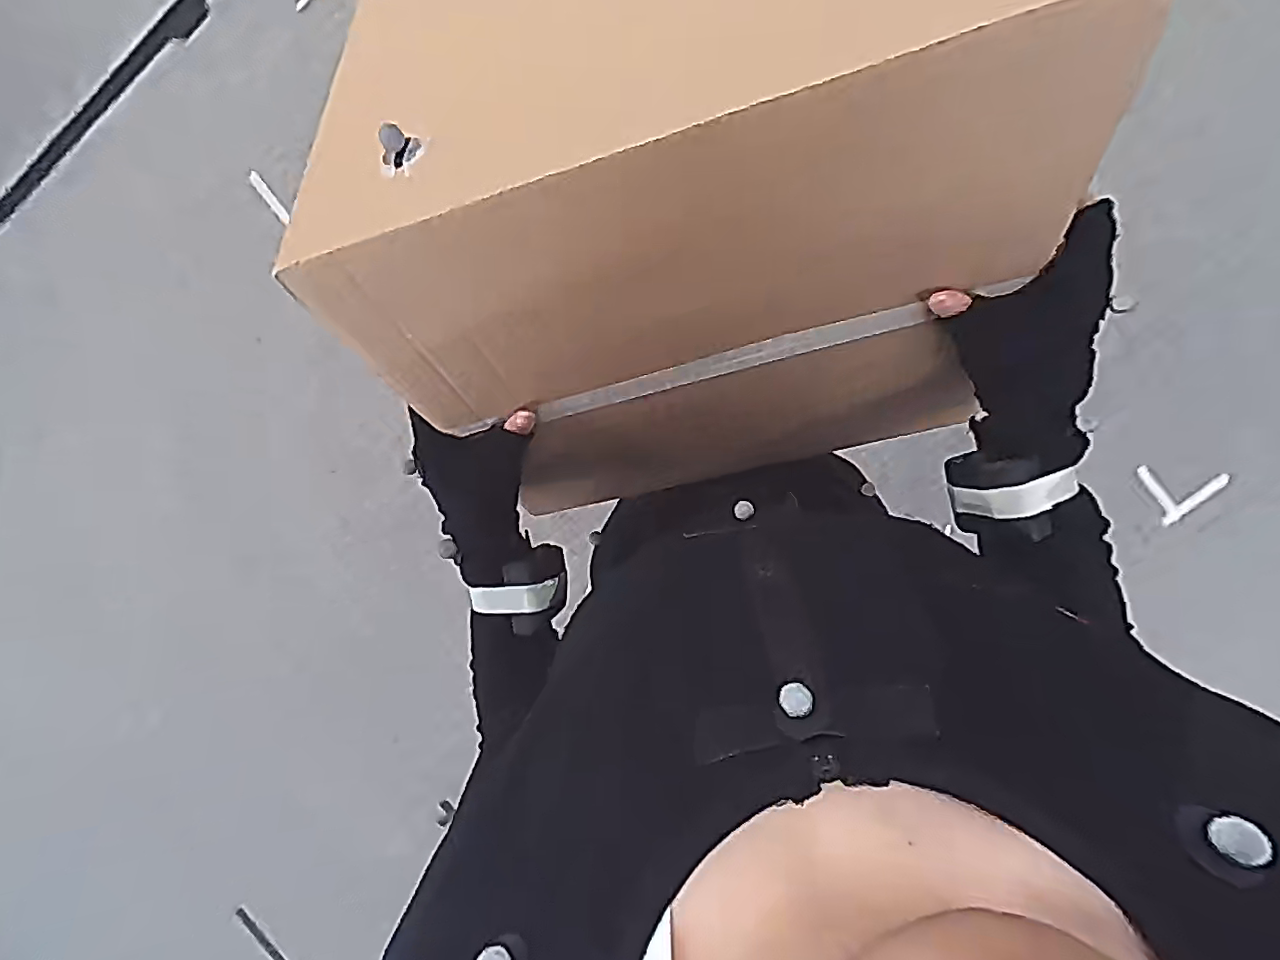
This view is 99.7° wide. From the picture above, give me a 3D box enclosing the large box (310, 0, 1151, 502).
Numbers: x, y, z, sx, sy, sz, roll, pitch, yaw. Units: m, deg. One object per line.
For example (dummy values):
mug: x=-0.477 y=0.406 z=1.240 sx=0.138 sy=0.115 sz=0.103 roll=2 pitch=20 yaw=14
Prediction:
large box: x=0.037 y=-0.217 z=0.446 sx=0.408 sy=0.320 sz=0.320 roll=-12 pitch=61 yaw=10
